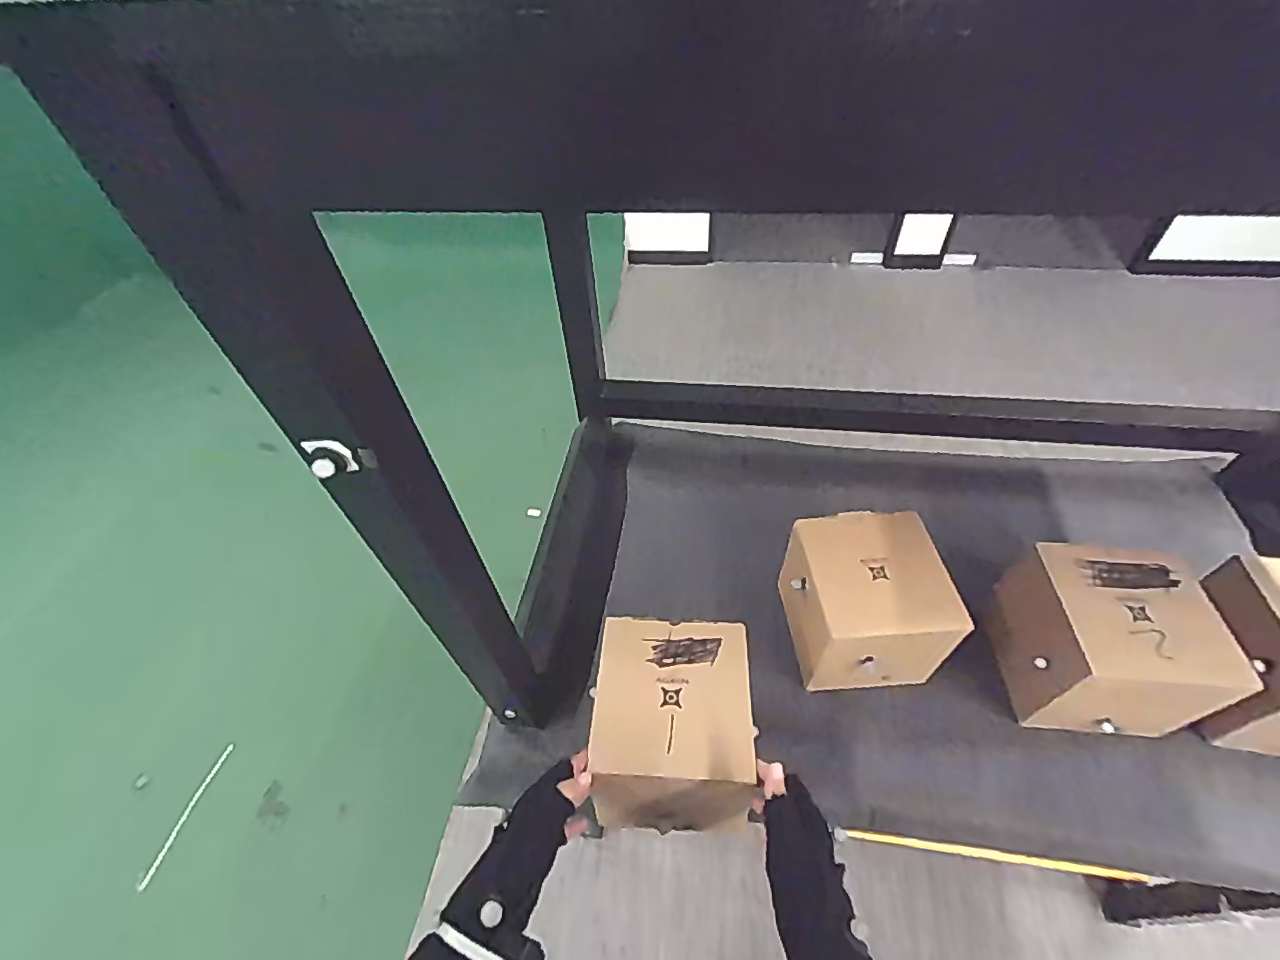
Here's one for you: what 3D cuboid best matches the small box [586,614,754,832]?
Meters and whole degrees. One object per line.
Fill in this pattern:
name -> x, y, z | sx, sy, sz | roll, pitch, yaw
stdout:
small box -> 0.037, 0.281, 0.631 | 0.168, 0.176, 0.179 | 2, 43, 5

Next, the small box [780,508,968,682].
small box -> 0.298, 0.162, 0.733 | 0.168, 0.176, 0.179 | -4, 48, 0
